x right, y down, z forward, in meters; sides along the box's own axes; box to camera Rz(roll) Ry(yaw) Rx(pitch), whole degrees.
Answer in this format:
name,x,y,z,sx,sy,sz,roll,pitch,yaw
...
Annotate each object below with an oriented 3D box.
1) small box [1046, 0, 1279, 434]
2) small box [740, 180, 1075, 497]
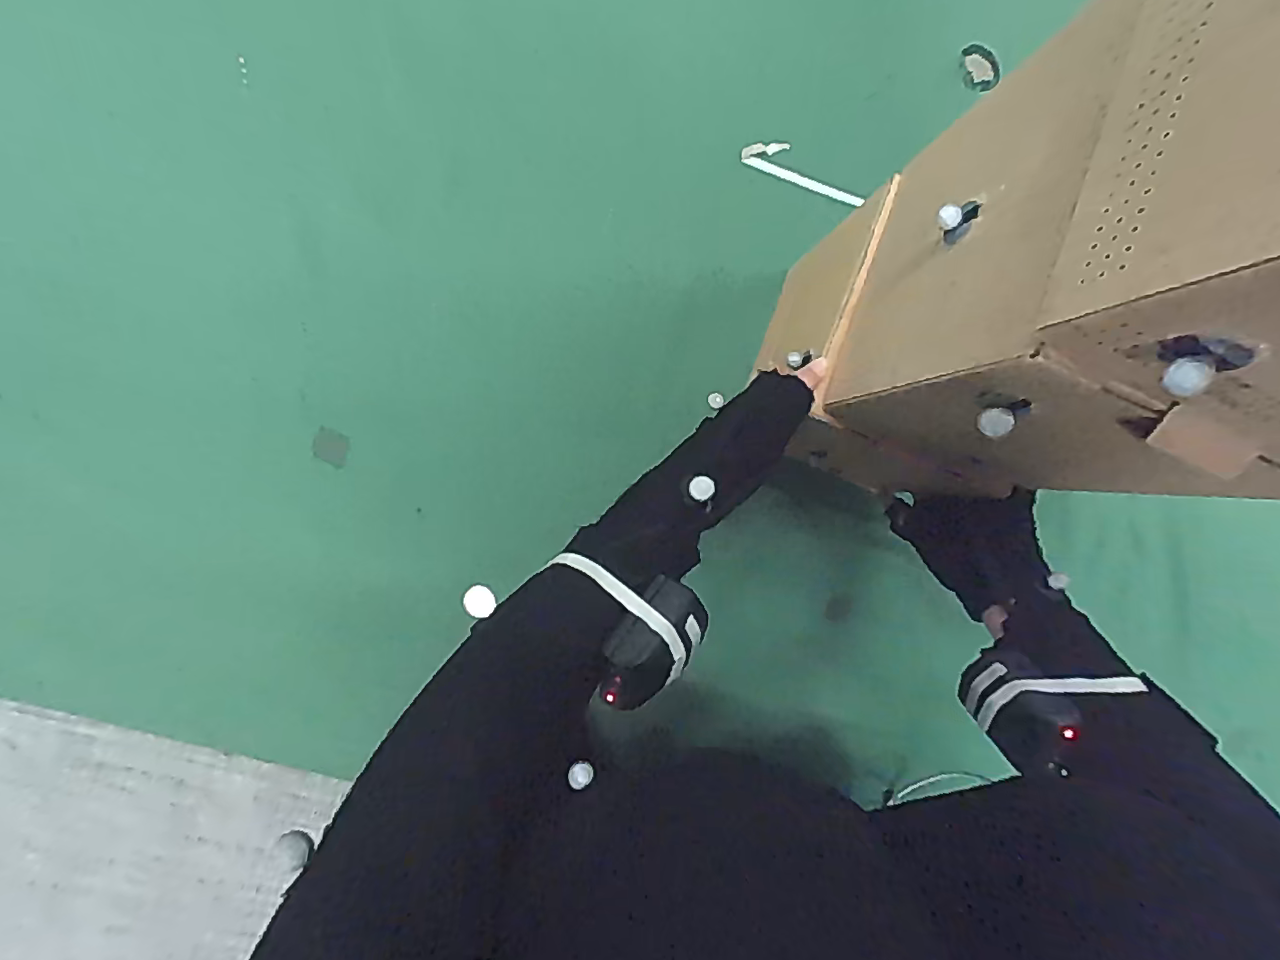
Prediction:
name,x,y,z,sx,sy,sz,roll,pitch,yaw
small box,0.250,-0.106,0.129,0.168,0.176,0.179,20,87,-8
small box,0.203,-0.099,0.455,0.168,0.176,0.179,21,89,-7
